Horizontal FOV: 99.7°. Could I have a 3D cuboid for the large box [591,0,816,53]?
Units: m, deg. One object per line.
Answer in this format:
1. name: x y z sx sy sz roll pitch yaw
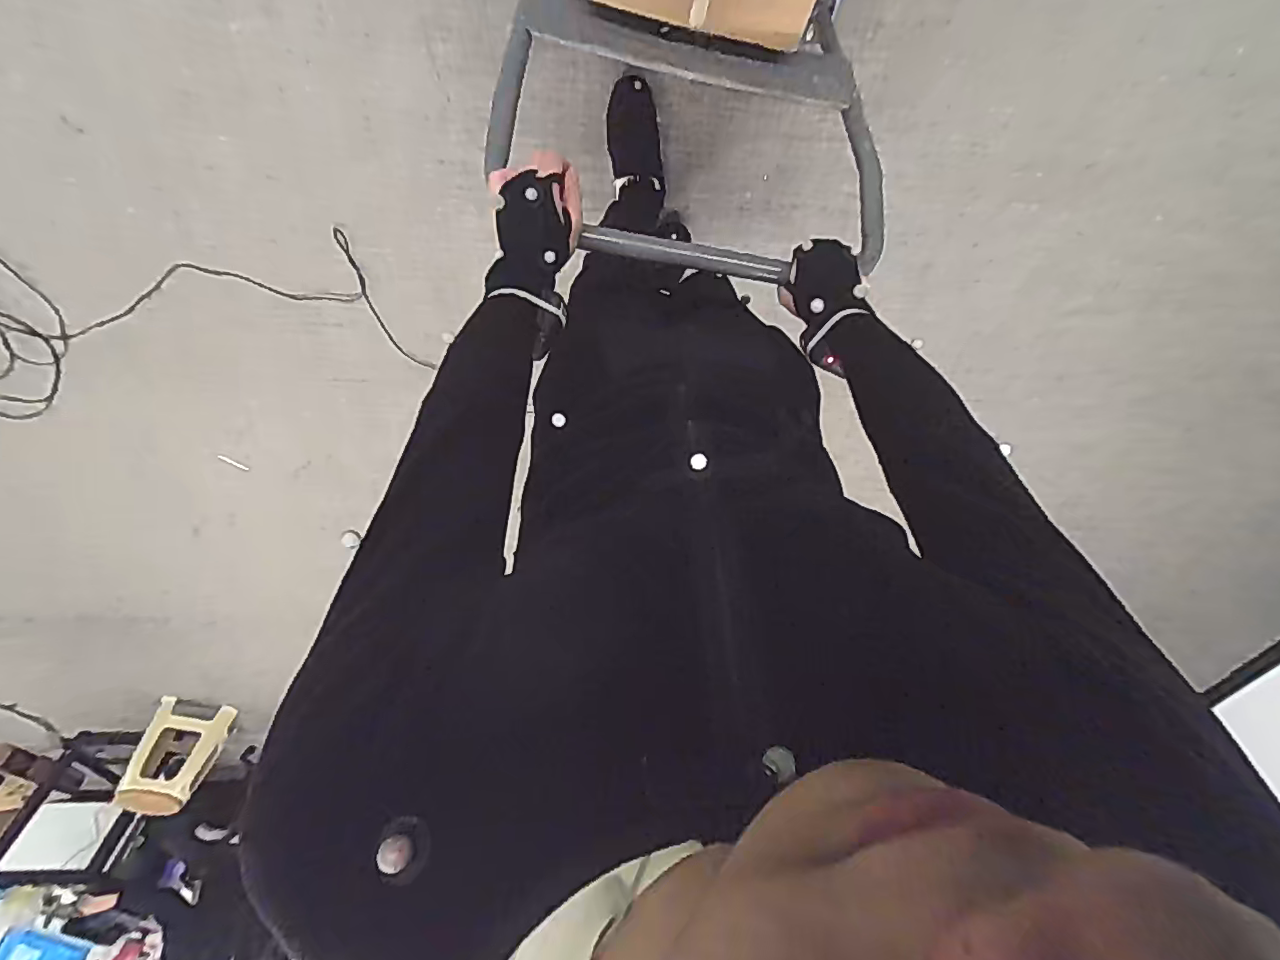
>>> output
1. large box: 0.116 -0.866 0.686 0.320 0.320 0.408 7 146 -9
